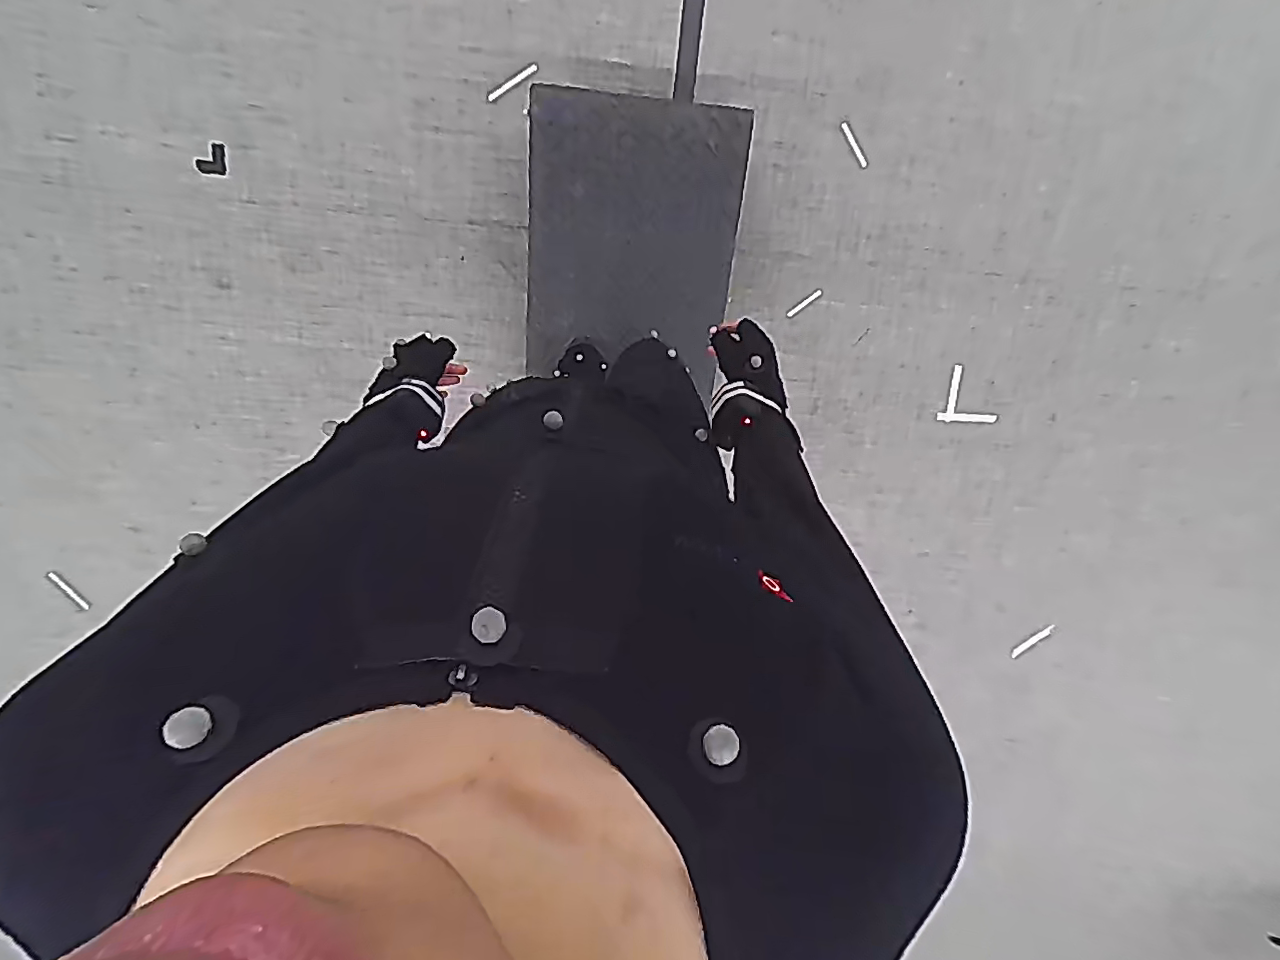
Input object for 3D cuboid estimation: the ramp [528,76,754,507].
[{"bbox_3d":[-0.034,-0.388,1.362,0.509,0.206,0.991,2,104,-4],"label":"ramp"}]
